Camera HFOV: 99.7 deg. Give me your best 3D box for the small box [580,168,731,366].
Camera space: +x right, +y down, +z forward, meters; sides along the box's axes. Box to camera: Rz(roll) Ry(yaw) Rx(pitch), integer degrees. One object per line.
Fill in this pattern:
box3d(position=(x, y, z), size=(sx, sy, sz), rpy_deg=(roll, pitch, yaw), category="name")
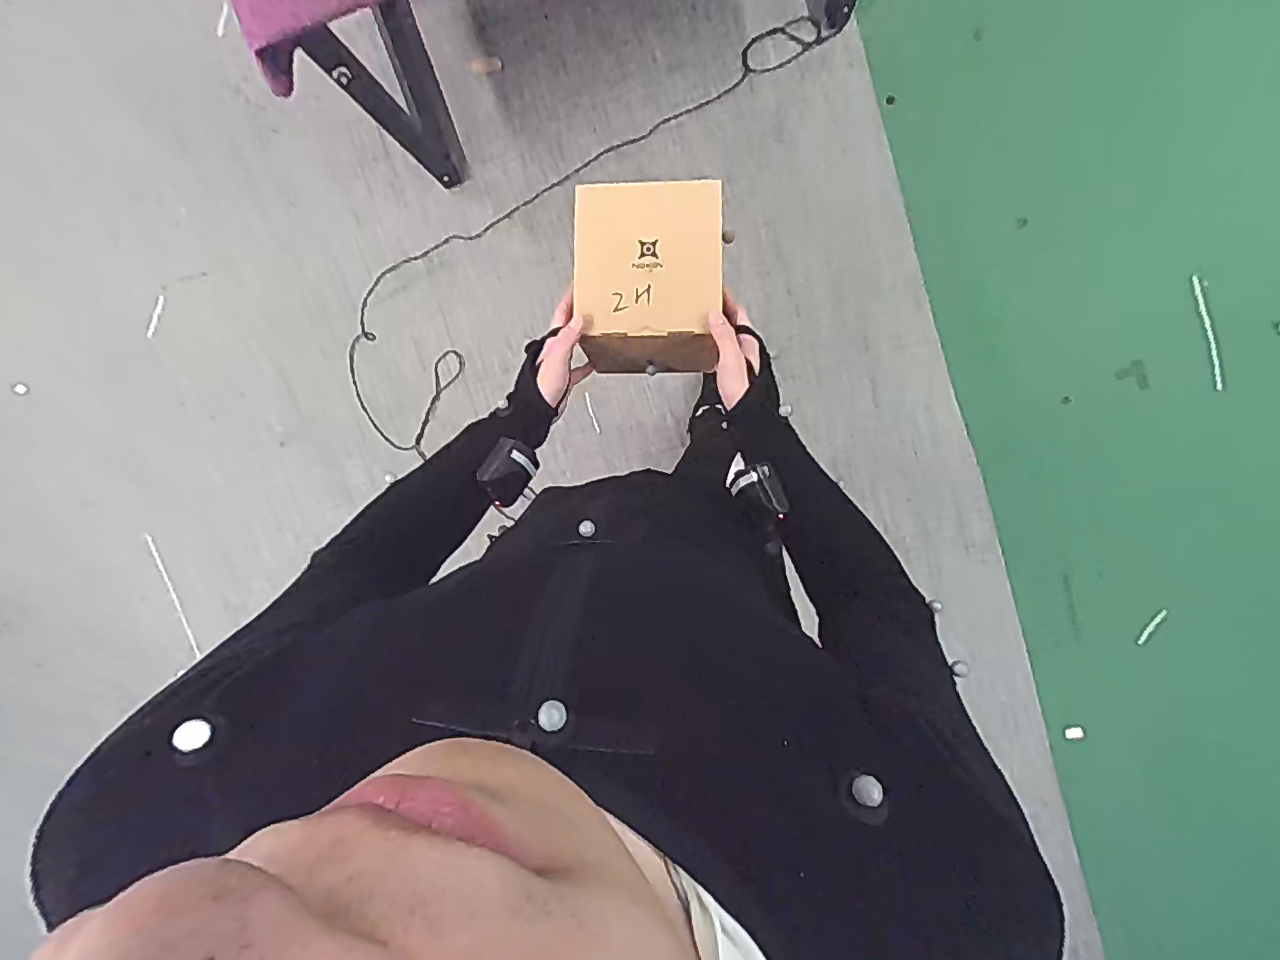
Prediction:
box3d(position=(0.021, -0.249, 0.668), size=(0.168, 0.176, 0.179), rpy_deg=(0, 87, 5), category="small box")
